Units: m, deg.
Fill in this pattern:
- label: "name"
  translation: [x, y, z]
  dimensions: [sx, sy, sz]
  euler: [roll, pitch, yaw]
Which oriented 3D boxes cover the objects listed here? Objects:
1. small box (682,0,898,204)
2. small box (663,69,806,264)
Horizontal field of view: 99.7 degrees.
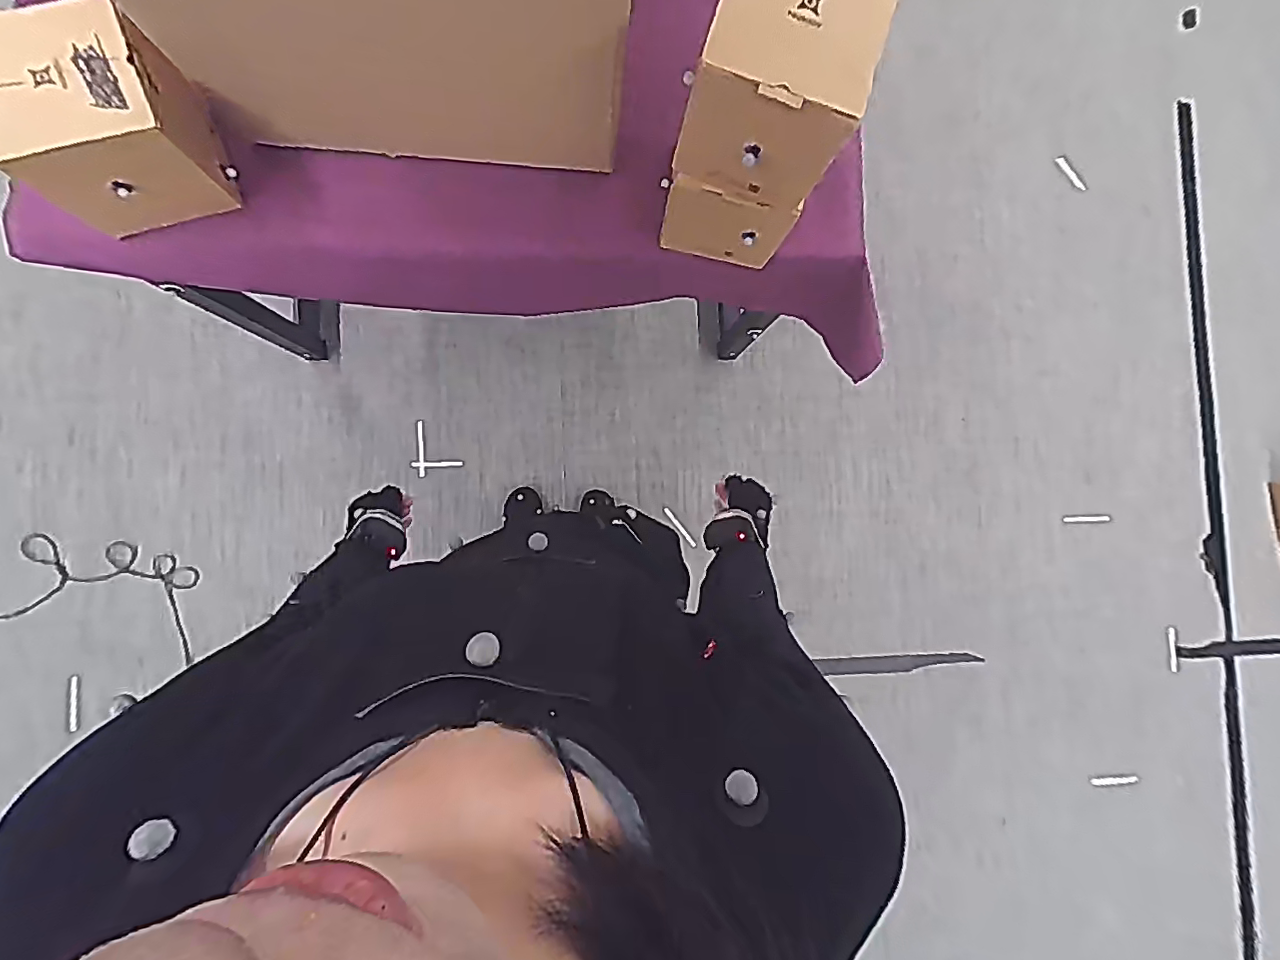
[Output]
- label: "small box"
  translation: [0.152, -0.445, 0.594]
  dimensions: [0.168, 0.176, 0.179]
  euler: [18, 87, -5]
- label: "small box"
  translation: [0.133, -0.430, 0.757]
  dimensions: [0.168, 0.176, 0.179]
  euler: [10, 85, -6]
